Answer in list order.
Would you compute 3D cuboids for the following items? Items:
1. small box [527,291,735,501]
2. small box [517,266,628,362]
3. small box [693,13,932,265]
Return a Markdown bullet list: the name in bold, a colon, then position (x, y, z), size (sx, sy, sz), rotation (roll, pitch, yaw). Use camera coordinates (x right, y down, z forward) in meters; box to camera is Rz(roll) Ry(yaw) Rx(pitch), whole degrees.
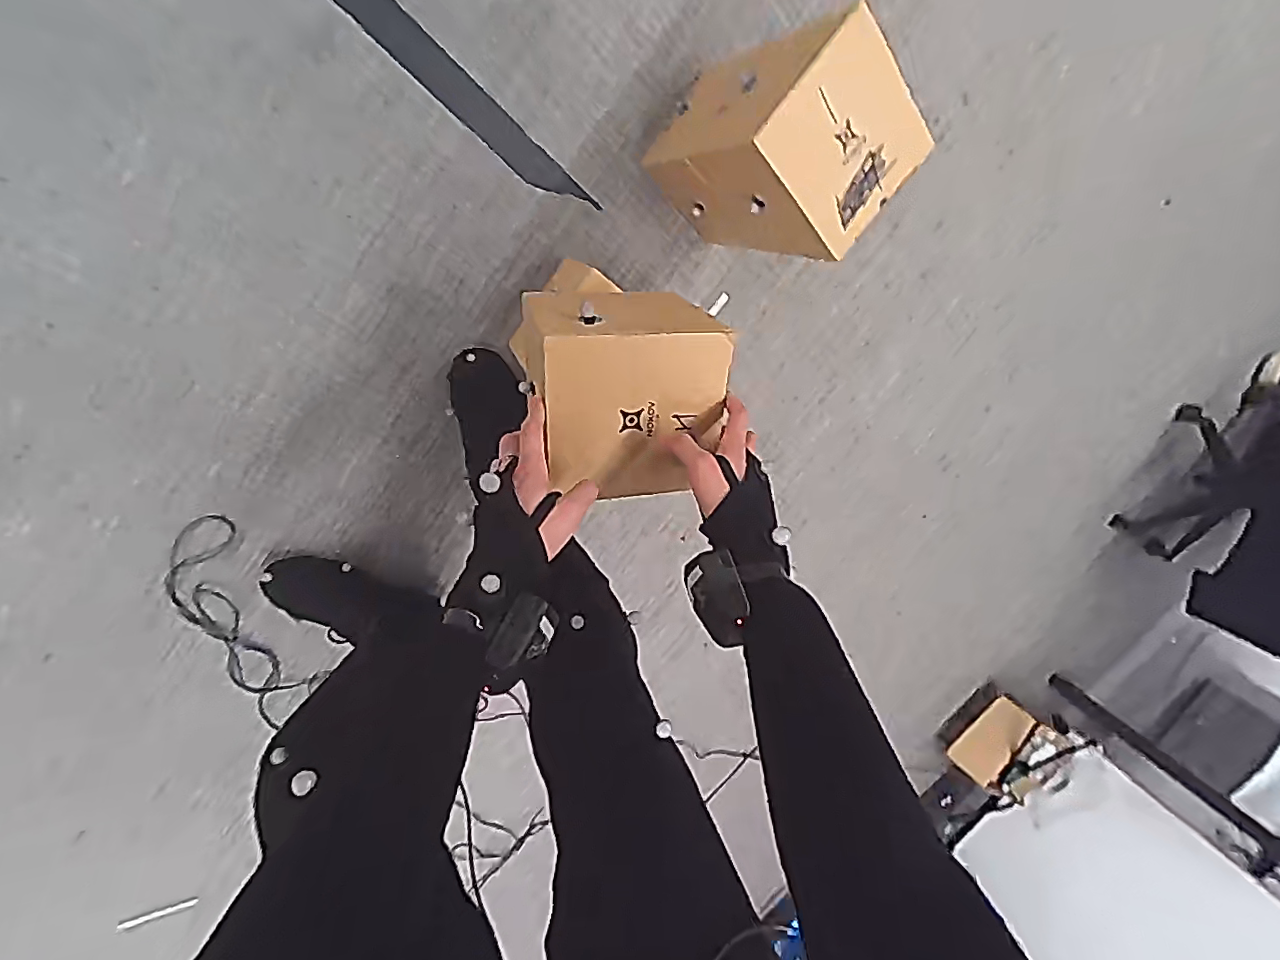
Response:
- **small box**: position (-0.024, -0.096, 0.567), size (0.179, 0.176, 0.168), rotation (-6, 122, -16)
- **small box**: position (-0.069, -0.208, 0.831), size (0.179, 0.176, 0.168), rotation (31, 101, -32)
- **small box**: position (0.198, -0.391, 0.649), size (0.179, 0.176, 0.168), rotation (35, 98, -32)
